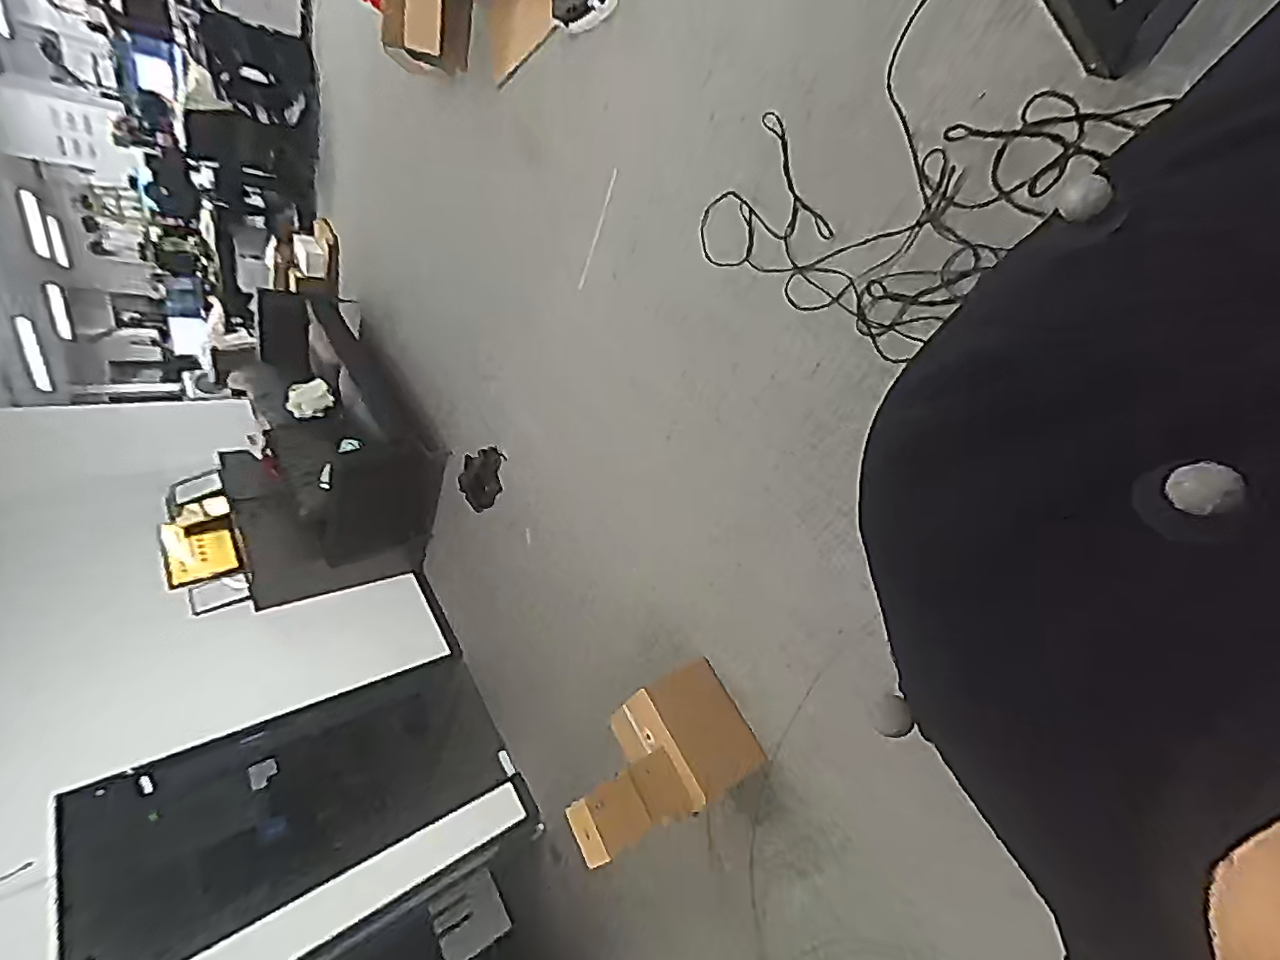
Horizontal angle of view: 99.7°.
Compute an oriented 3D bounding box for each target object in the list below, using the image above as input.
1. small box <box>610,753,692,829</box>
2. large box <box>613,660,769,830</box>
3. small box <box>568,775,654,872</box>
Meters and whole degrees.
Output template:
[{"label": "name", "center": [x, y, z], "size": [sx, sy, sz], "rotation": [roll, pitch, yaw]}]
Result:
[{"label": "small box", "center": [0.032, 1.007, 1.736], "size": [0.179, 0.176, 0.168], "rotation": [55, 135, 25]}, {"label": "large box", "center": [0.174, 0.932, 1.930], "size": [0.408, 0.320, 0.320], "rotation": [56, 133, 27]}, {"label": "small box", "center": [-0.085, 1.029, 1.625], "size": [0.179, 0.176, 0.168], "rotation": [58, 136, 25]}]
